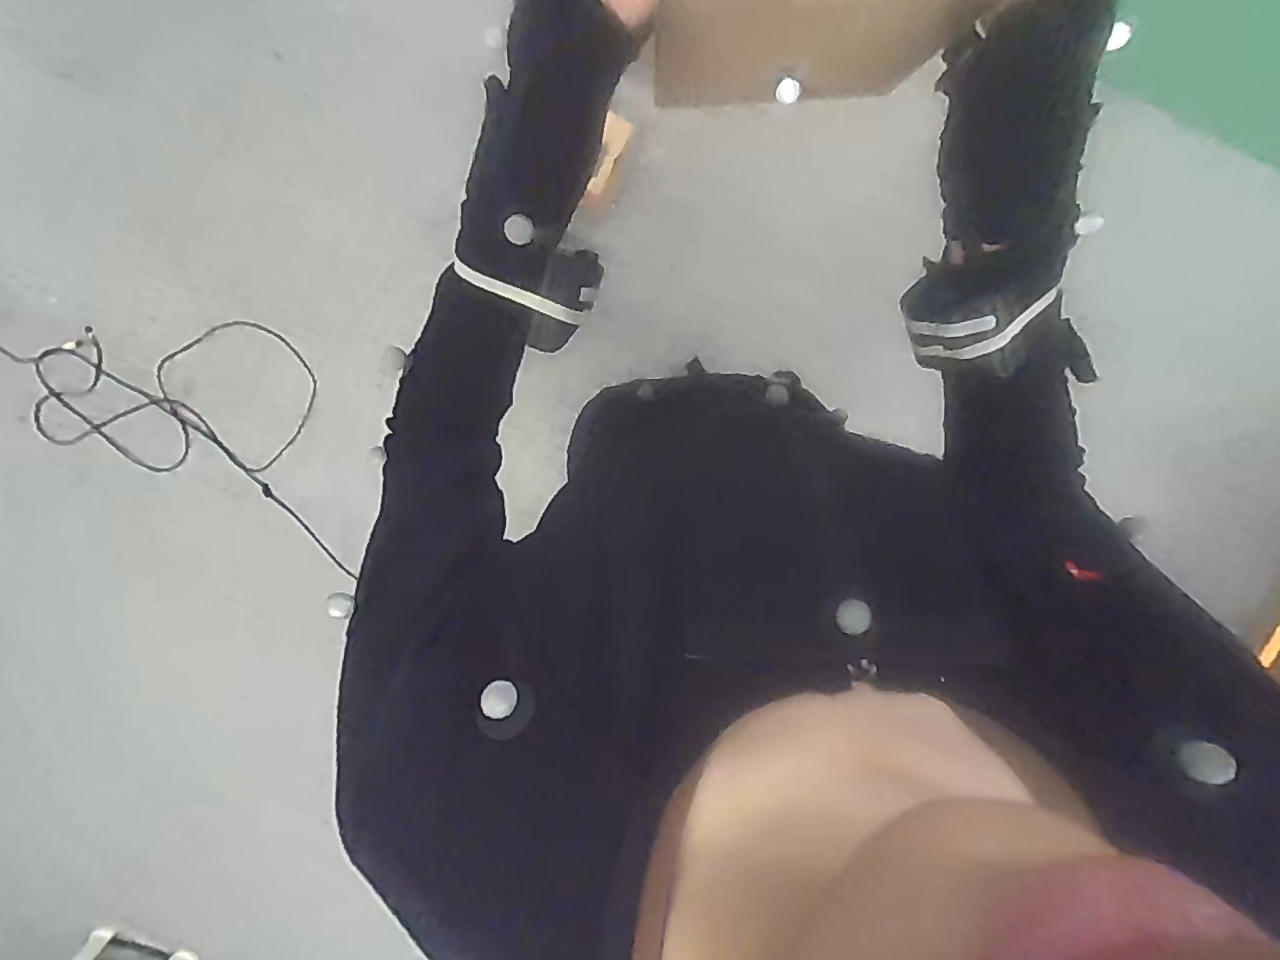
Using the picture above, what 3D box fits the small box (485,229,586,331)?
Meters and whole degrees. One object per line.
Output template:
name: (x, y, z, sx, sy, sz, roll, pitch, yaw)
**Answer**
small box: (-0.246, -0.474, 1.314, 0.179, 0.176, 0.168, 23, 99, -3)
